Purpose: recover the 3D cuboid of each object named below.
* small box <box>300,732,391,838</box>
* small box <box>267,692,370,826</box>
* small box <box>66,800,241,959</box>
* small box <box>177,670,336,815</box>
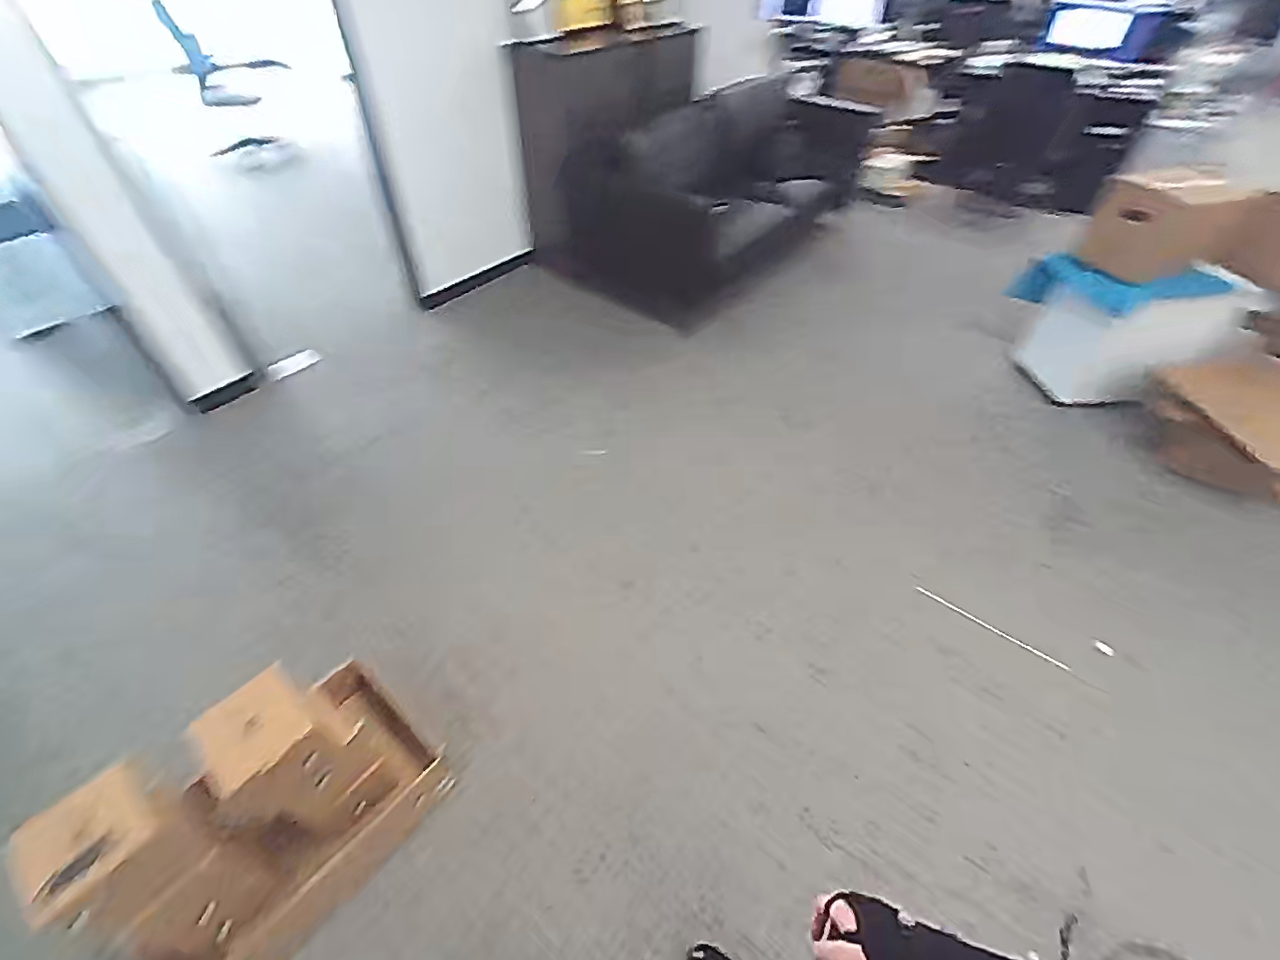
[{"bbox_3d":[-0.734,0.722,1.298,0.179,0.176,0.168,33,54,26],"label":"small box"},{"bbox_3d":[-0.729,0.610,1.176,0.168,0.176,0.179,30,52,23],"label":"small box"},{"bbox_3d":[-0.904,0.760,1.026,0.168,0.176,0.179,30,50,25],"label":"small box"},{"bbox_3d":[-0.729,0.512,1.045,0.179,0.176,0.168,34,54,26],"label":"small box"}]
